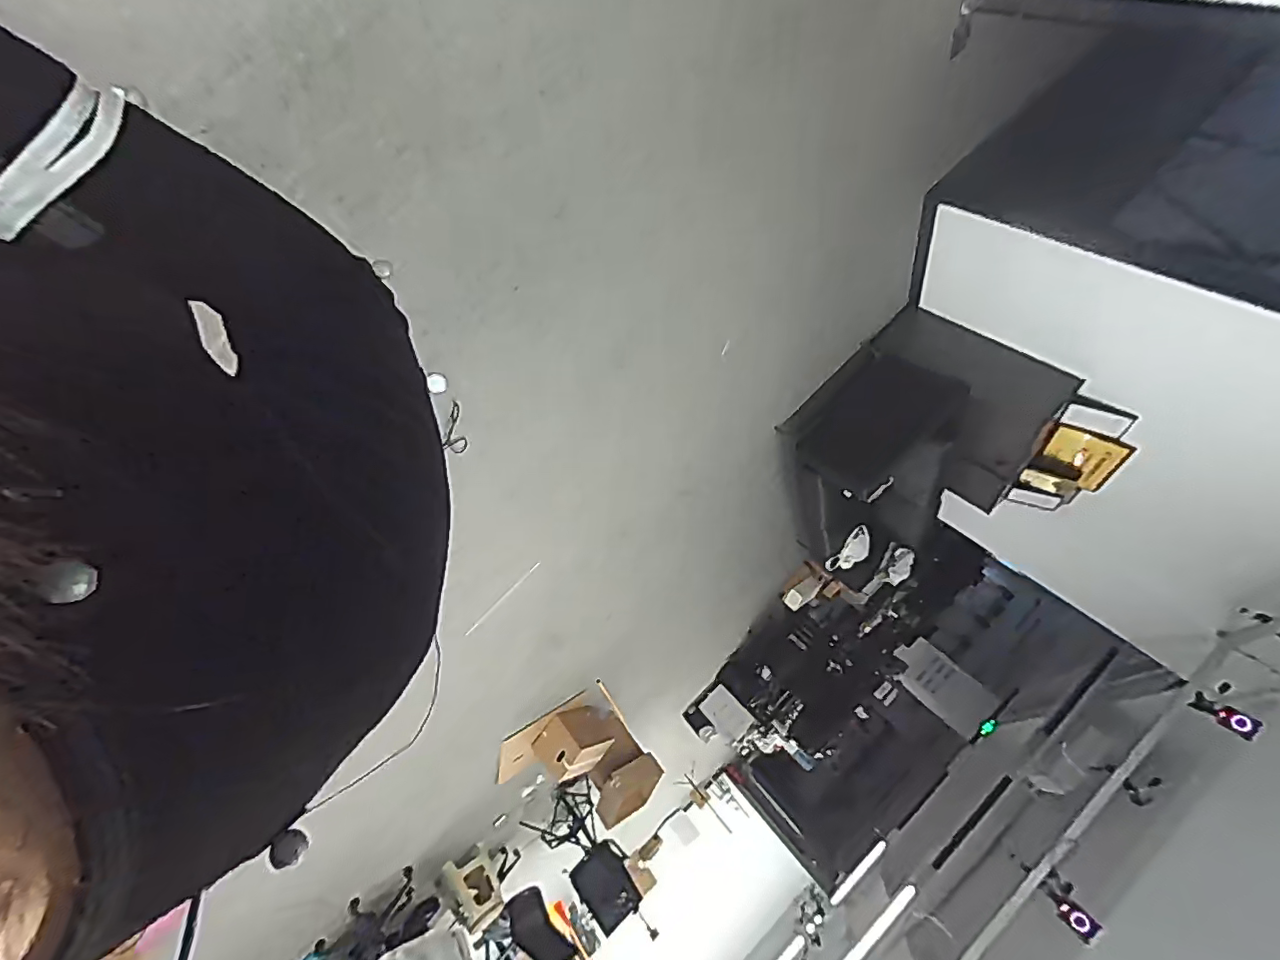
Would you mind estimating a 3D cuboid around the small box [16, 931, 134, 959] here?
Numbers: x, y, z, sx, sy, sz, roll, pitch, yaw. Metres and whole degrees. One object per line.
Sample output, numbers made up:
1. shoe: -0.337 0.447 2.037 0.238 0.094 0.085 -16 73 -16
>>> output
1. small box: -1.027 0.935 0.938 0.168 0.176 0.179 -42 148 -10
